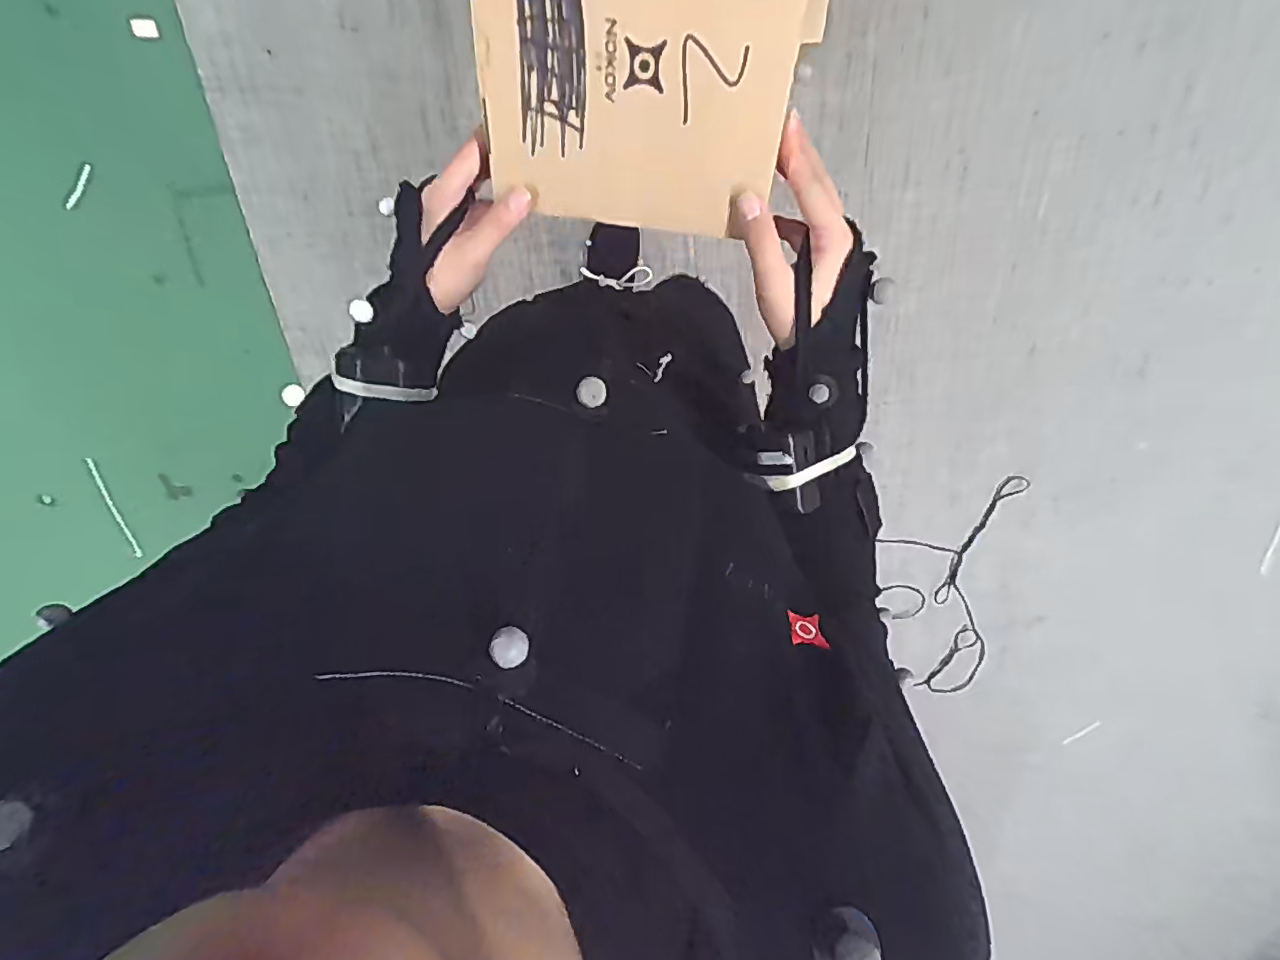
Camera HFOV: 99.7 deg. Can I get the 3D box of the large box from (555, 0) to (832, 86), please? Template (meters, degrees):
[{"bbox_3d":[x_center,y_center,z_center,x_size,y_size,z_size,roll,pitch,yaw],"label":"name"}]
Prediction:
[{"bbox_3d":[0.076,-0.849,0.860,0.408,0.320,0.320,1,116,-1],"label":"large box"}]
